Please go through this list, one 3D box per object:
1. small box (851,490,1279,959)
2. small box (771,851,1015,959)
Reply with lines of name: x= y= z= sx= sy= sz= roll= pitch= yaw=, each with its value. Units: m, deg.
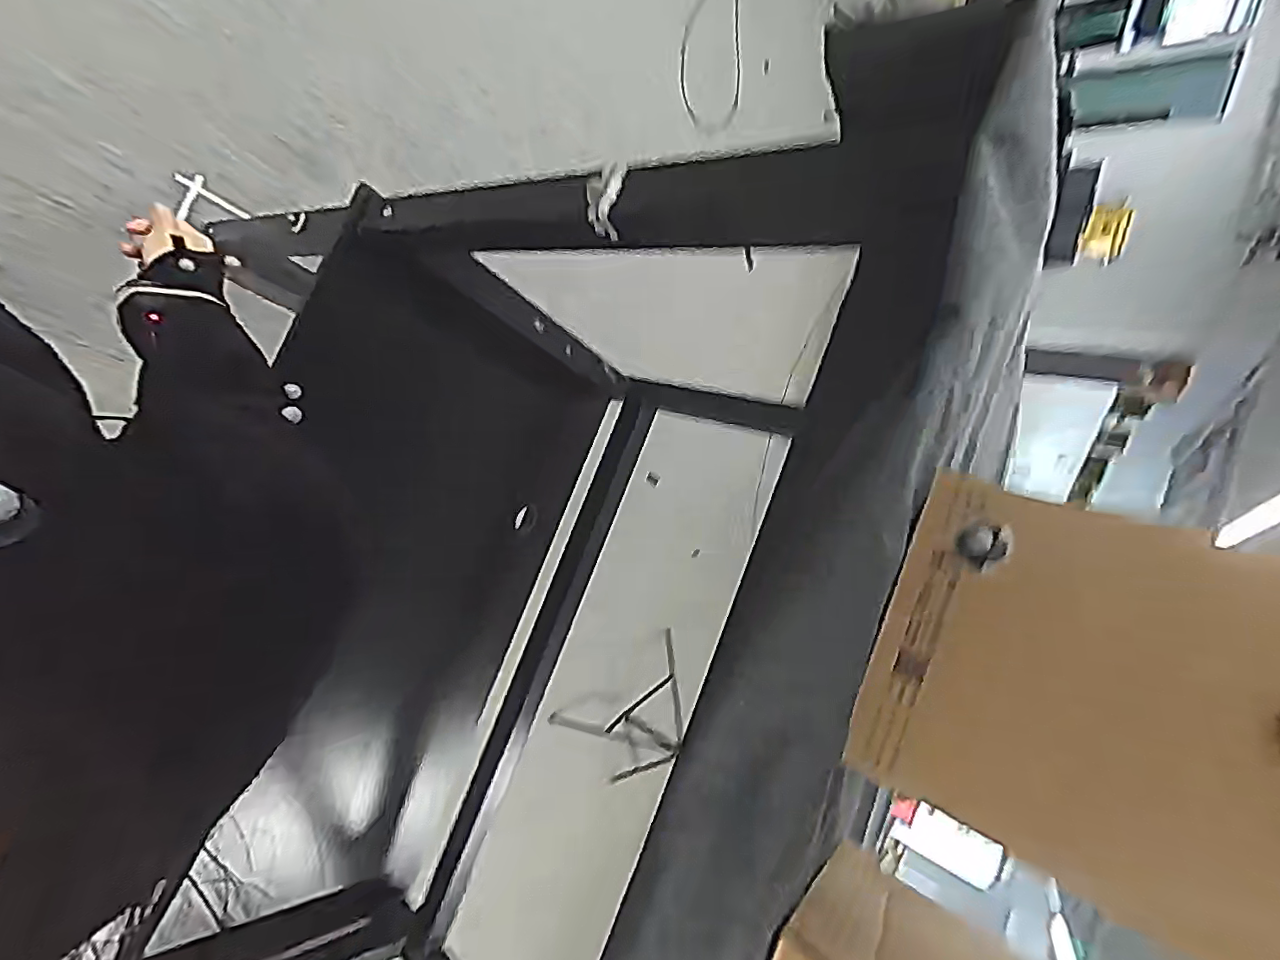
small box: x=0.239 y=0.114 z=0.317 sx=0.179 sy=0.176 sz=0.168 roll=25 pitch=86 yaw=-56
small box: x=0.149 y=0.354 z=0.302 sx=0.179 sy=0.176 sz=0.168 roll=28 pitch=81 yaw=-55
